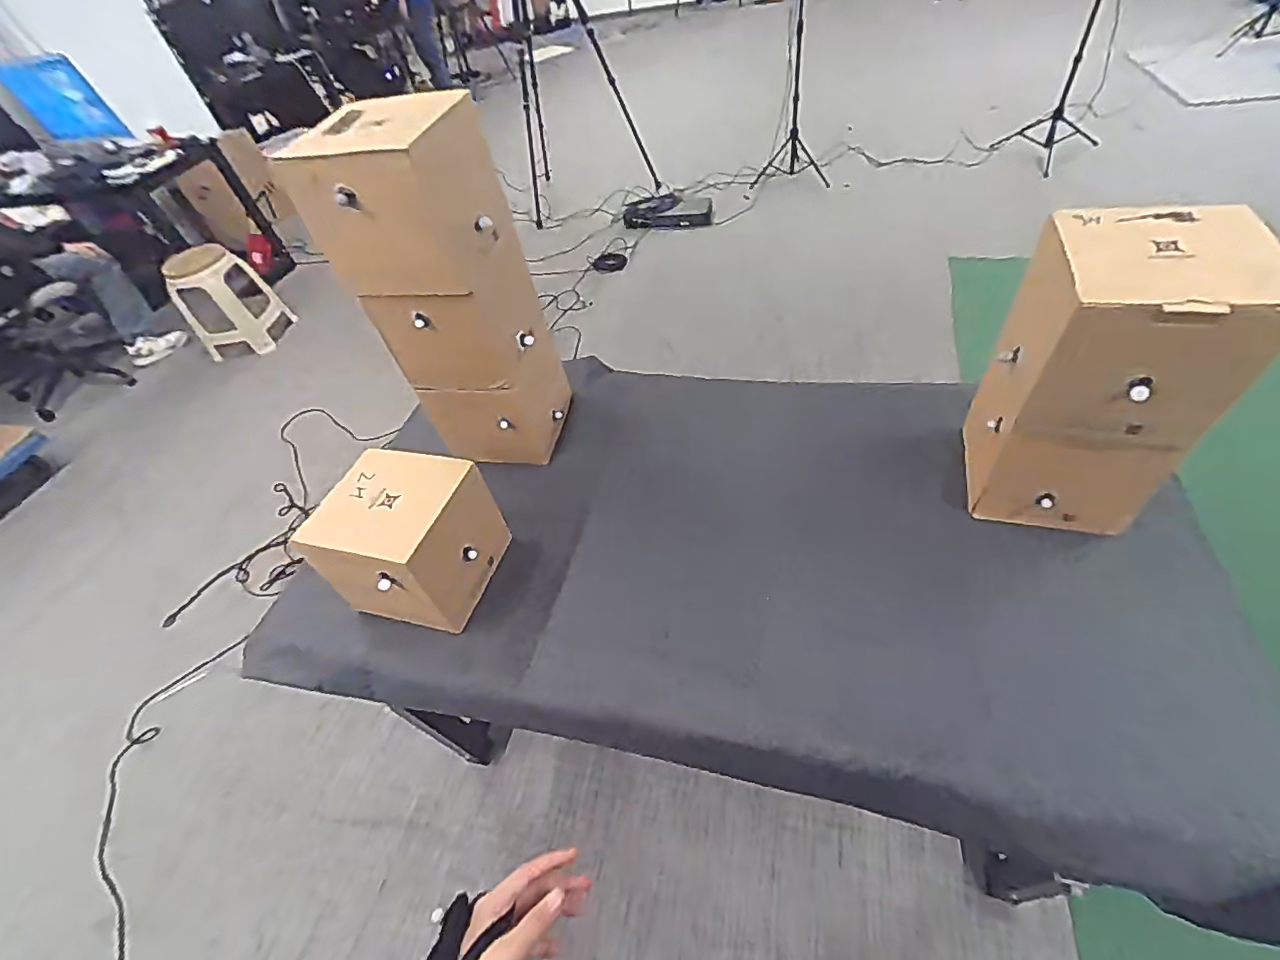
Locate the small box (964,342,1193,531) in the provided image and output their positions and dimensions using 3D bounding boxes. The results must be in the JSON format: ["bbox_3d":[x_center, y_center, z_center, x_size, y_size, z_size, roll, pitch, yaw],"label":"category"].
[{"bbox_3d":[0.531,-0.061,0.691,0.168,0.176,0.179,8,53,18],"label":"small box"}]

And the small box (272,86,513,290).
[{"bbox_3d":[-0.283,-0.350,0.663,0.179,0.176,0.168,5,53,13],"label":"small box"}]

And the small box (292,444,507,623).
[{"bbox_3d":[-0.307,0.074,0.735,0.179,0.176,0.168,7,49,17],"label":"small box"}]

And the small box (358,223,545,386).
[{"bbox_3d":[-0.261,-0.254,0.795,0.179,0.176,0.168,3,53,12],"label":"small box"}]

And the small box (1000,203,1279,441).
[{"bbox_3d":[0.501,-0.161,0.564,0.168,0.176,0.179,8,54,18],"label":"small box"}]
